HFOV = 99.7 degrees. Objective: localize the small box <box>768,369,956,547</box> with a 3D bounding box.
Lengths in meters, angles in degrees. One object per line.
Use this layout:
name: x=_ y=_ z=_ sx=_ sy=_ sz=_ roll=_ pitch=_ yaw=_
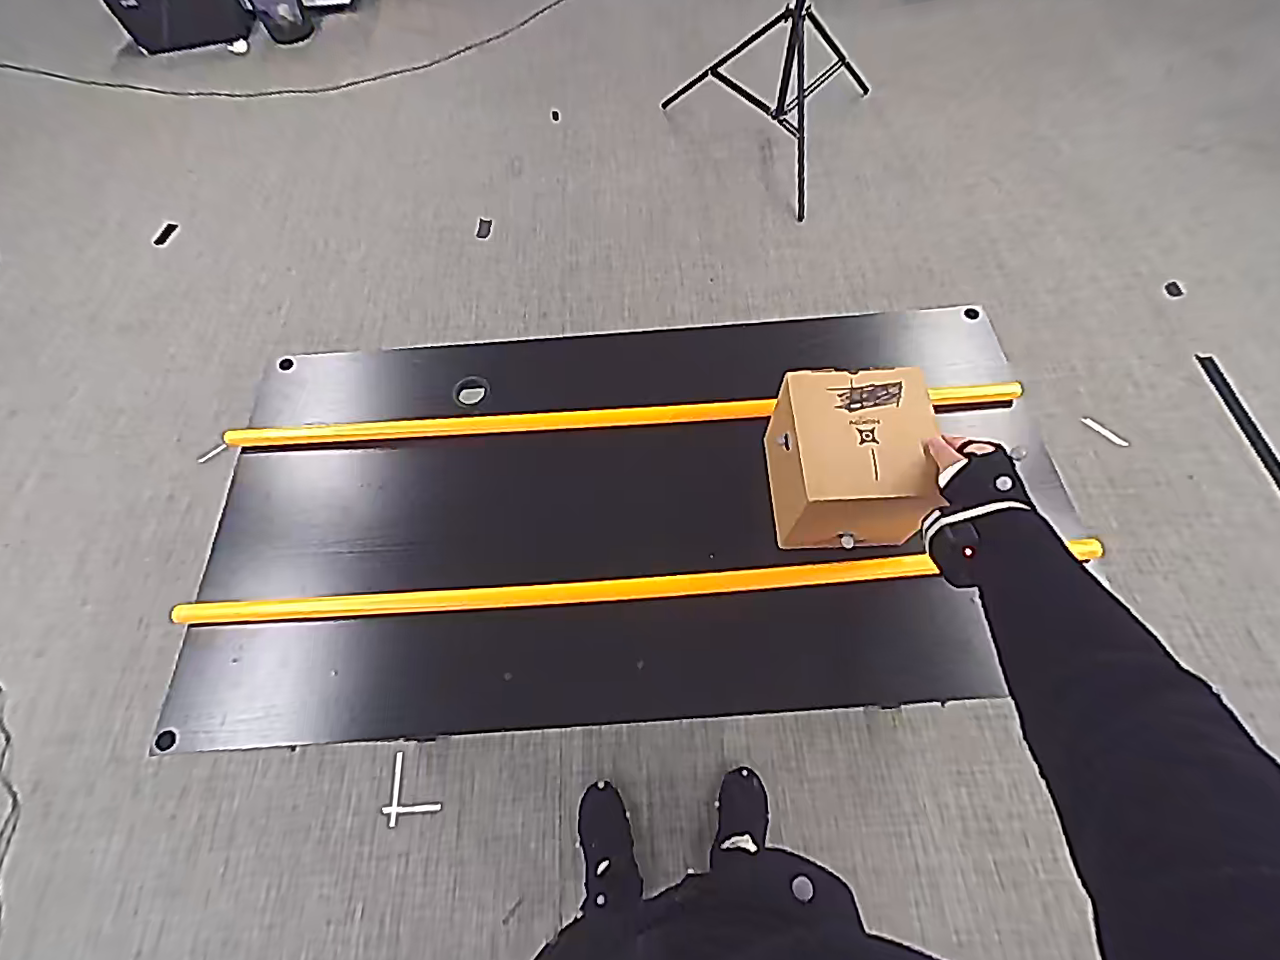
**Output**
small box: x=0.268 y=-0.023 z=0.702 sx=0.168 sy=0.176 sz=0.179 roll=-2 pitch=64 yaw=2
